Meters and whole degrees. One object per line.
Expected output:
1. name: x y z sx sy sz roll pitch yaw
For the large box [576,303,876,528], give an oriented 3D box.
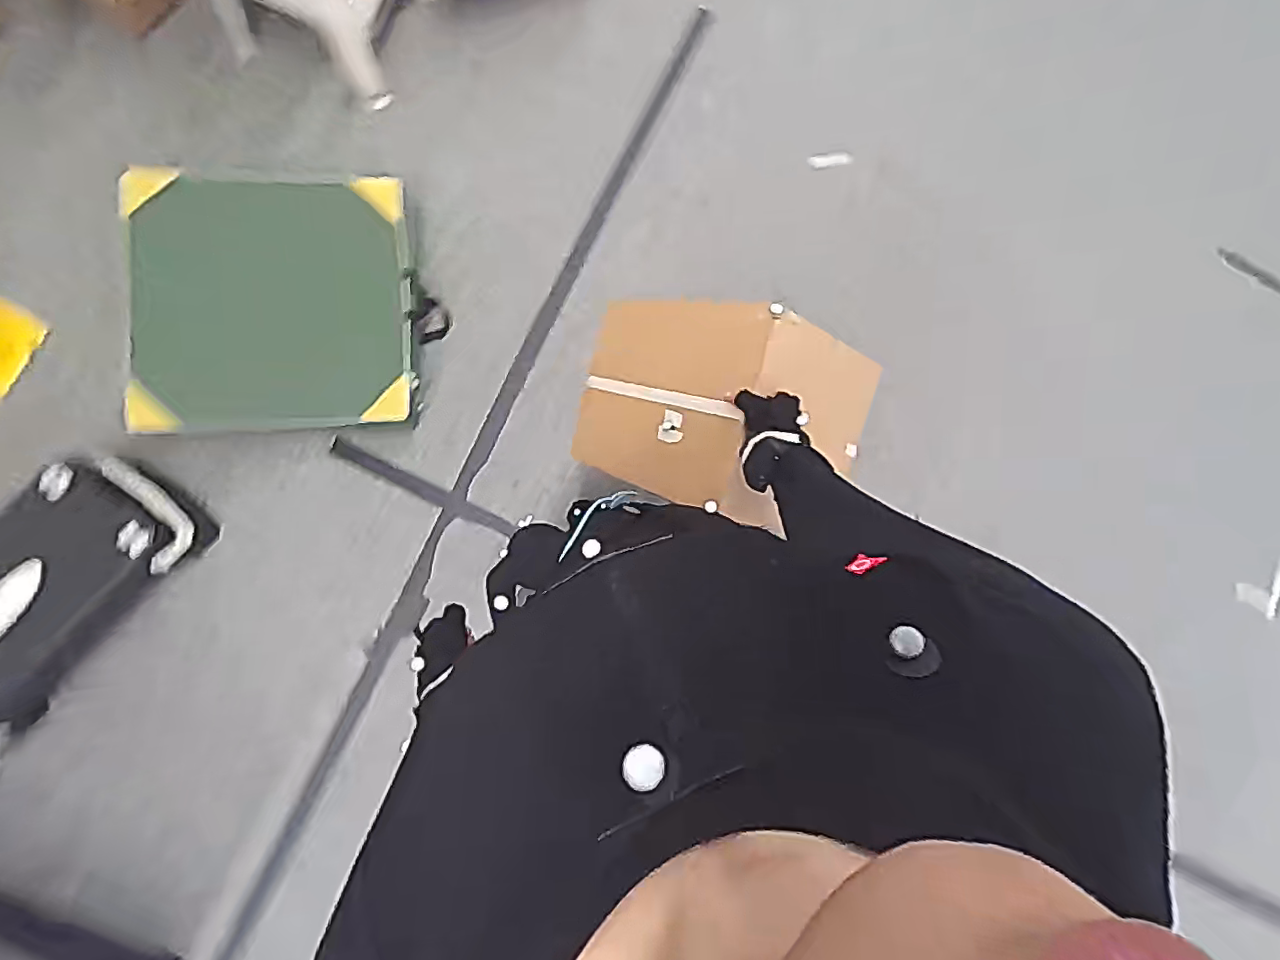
1. large box: 0.144 -0.124 1.008 0.320 0.408 0.320 8 100 -42
